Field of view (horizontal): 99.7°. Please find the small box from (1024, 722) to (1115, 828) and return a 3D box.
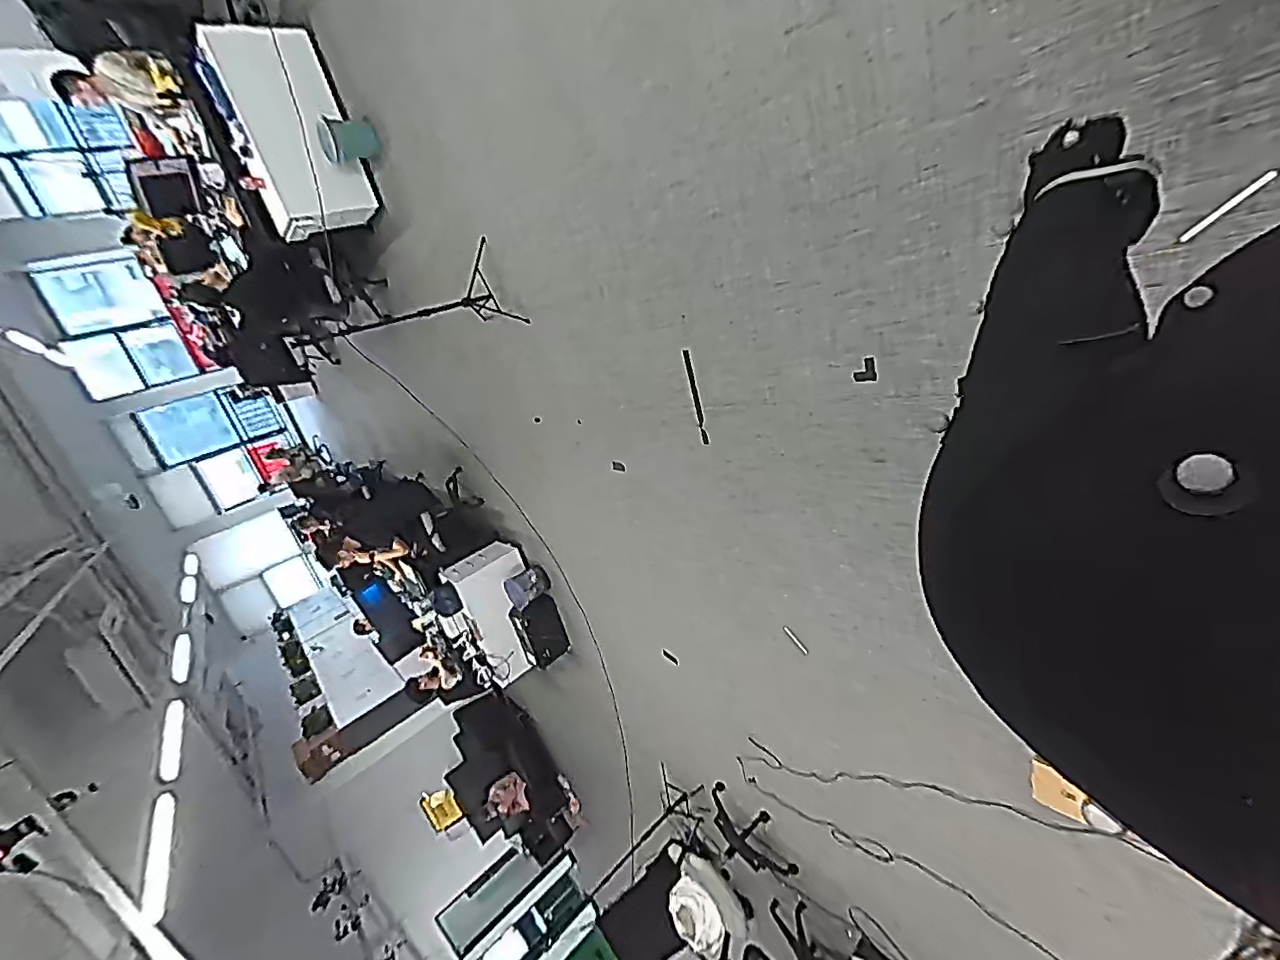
[{"bbox_3d":[1.238,0.839,1.559,0.179,0.176,0.168,12,124,50],"label":"small box"}]
